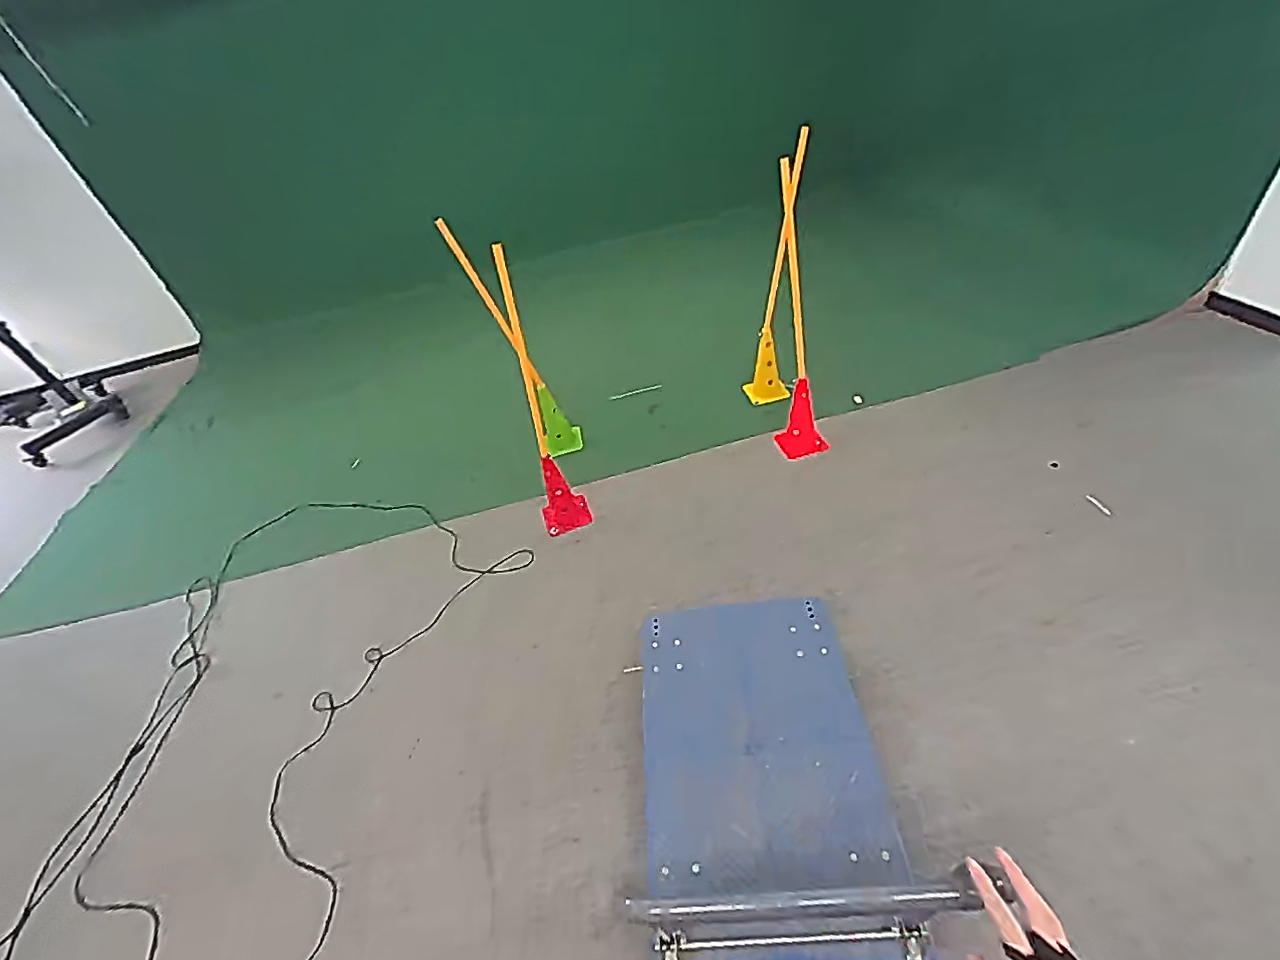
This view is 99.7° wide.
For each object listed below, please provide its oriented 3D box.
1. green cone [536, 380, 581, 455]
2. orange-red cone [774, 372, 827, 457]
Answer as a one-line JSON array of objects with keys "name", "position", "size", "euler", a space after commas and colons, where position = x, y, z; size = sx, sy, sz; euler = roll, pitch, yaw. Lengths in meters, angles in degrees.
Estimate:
[{"name": "green cone", "position": [-0.441, -0.333, 2.694], "size": [0.200, 0.368, 0.202], "euler": [-16, 41, -2]}, {"name": "orange-red cone", "position": [0.704, -0.309, 2.371], "size": [0.198, 0.360, 0.199], "euler": [-15, 40, -2]}]
